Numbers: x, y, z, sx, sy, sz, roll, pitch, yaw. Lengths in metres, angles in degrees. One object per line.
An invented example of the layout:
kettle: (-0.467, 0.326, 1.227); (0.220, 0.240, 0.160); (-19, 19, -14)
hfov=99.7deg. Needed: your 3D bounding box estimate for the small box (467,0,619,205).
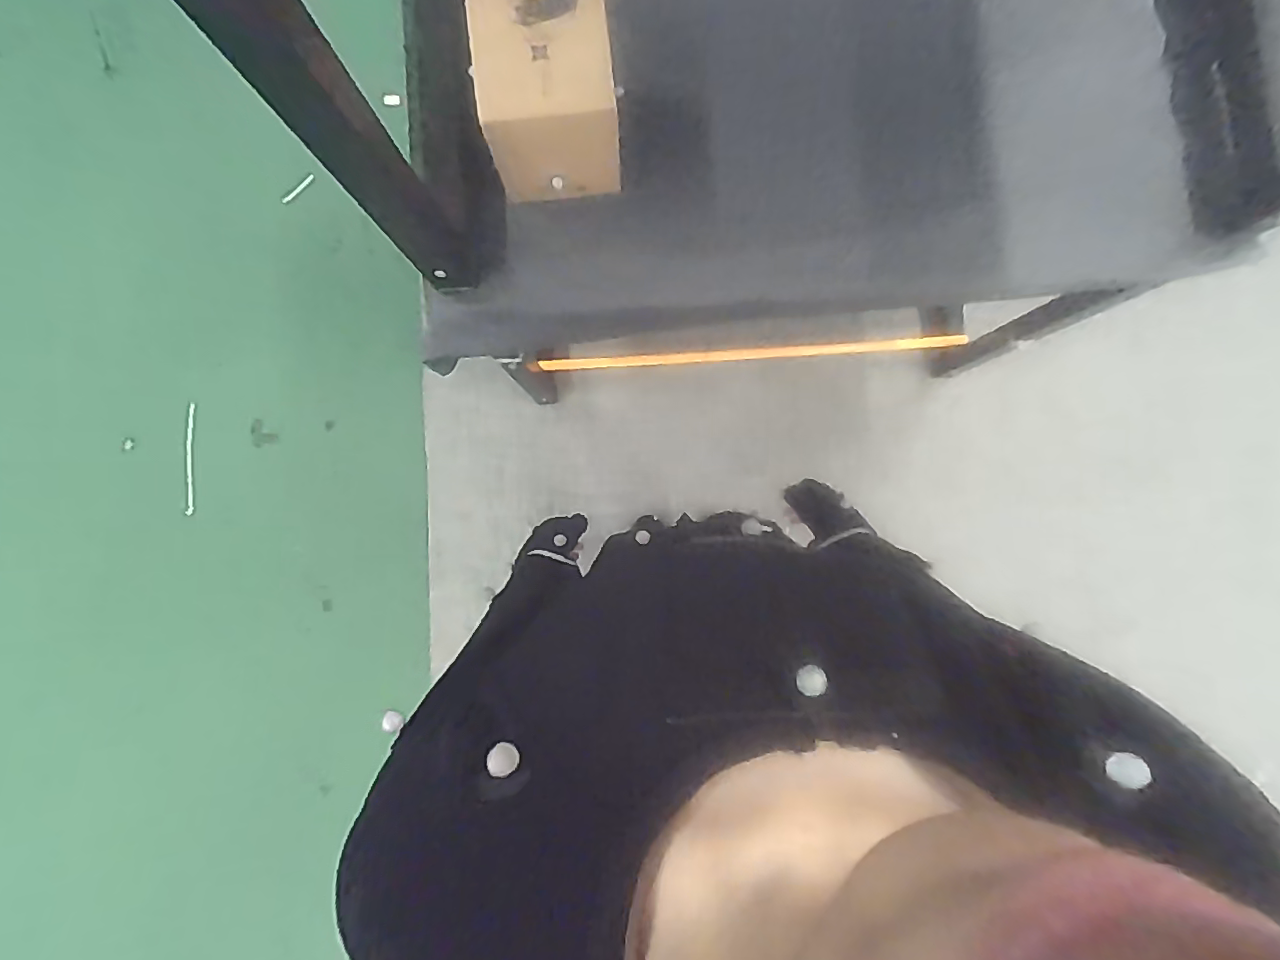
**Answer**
small box: (-0.119, -0.502, 0.720); (0.168, 0.176, 0.179); (-7, 86, 0)
